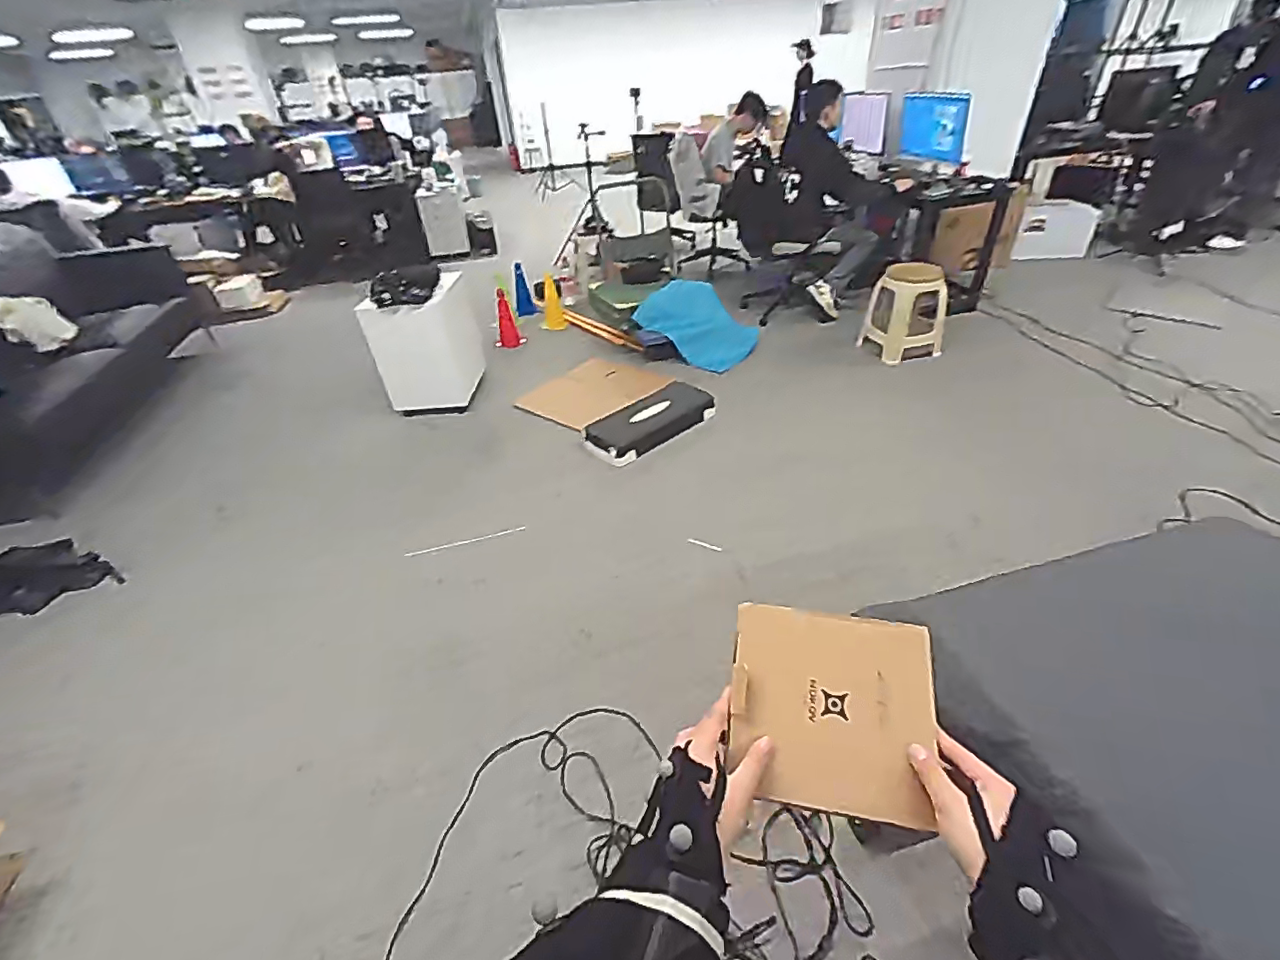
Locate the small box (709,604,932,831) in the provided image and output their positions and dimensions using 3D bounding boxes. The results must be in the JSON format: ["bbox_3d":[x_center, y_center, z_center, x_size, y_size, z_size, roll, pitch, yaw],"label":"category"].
[{"bbox_3d":[0.162,0.237,0.540,0.179,0.176,0.168,5,61,8],"label":"small box"}]
